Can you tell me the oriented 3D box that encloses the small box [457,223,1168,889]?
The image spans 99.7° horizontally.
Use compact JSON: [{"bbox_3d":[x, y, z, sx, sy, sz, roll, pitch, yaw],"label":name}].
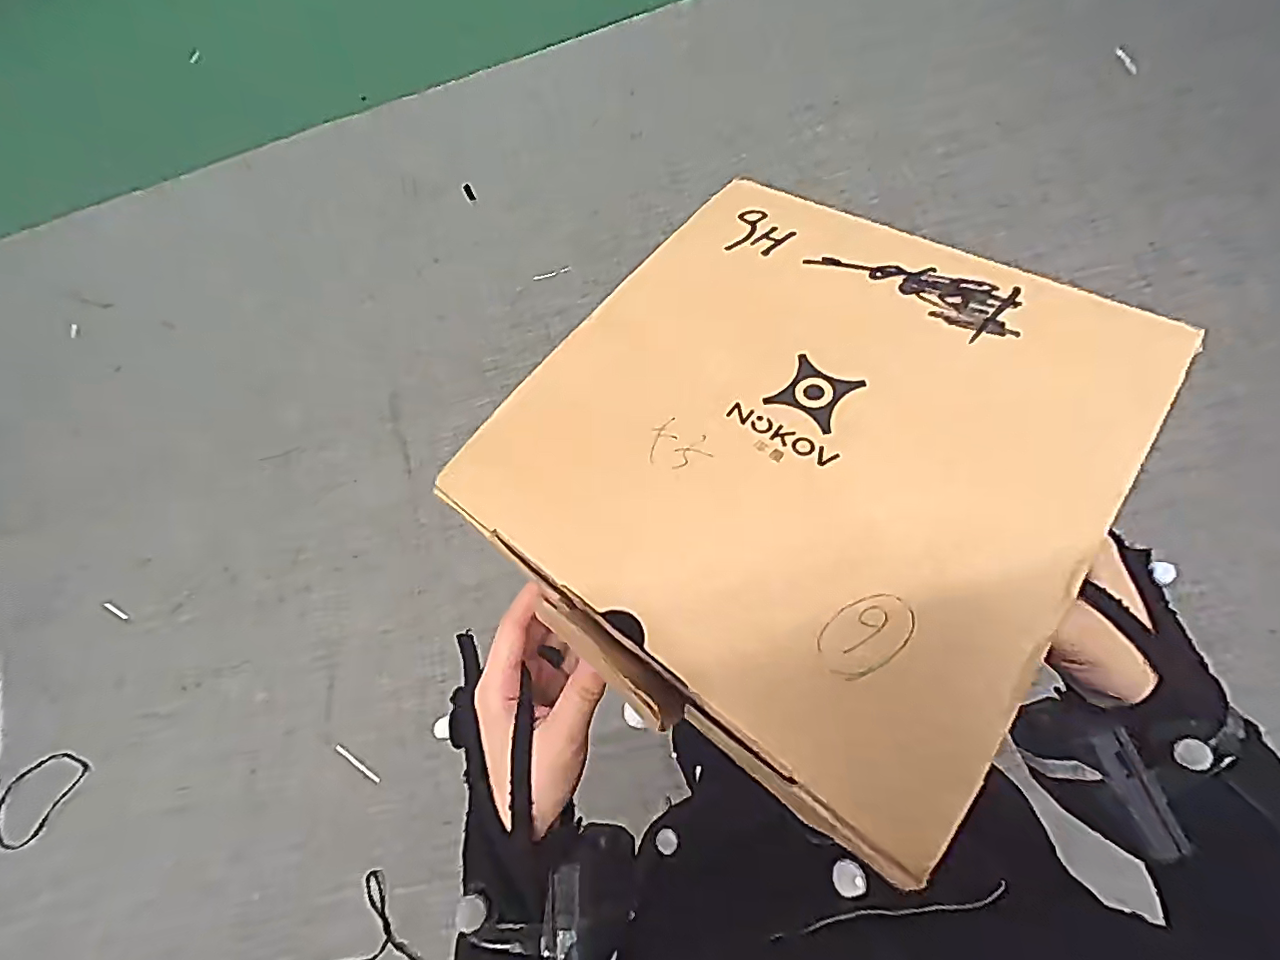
[{"bbox_3d":[0.062,0.029,0.246,0.168,0.176,0.179,33,72,24],"label":"small box"}]
